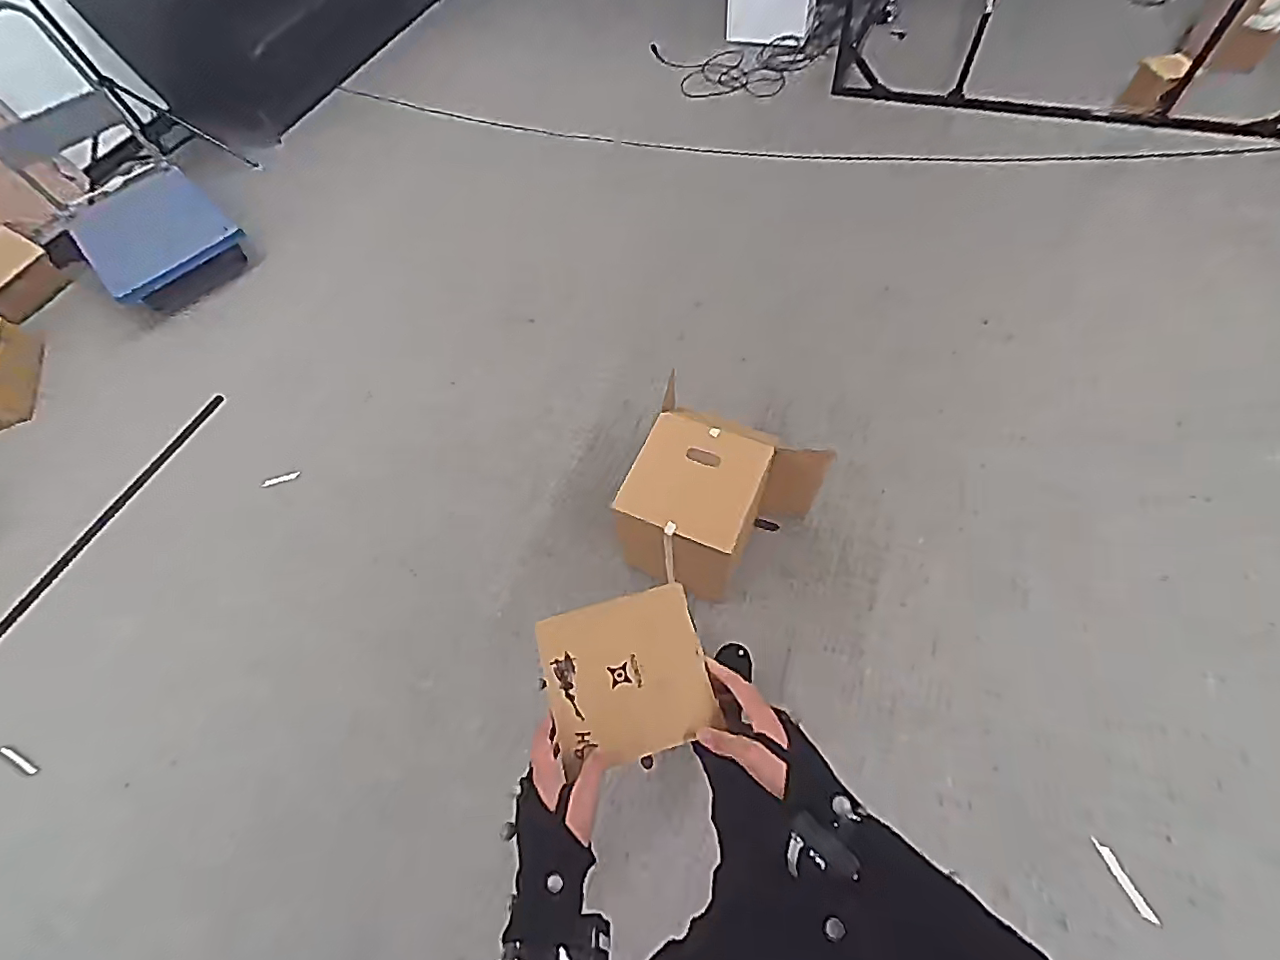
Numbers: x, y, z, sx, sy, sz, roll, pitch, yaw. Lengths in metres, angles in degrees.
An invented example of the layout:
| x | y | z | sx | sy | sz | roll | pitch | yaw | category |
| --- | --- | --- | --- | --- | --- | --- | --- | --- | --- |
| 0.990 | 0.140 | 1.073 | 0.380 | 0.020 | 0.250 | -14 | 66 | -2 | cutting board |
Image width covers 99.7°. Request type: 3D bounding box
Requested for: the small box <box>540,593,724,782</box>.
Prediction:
| x | y | z | sx | sy | sz | roll | pitch | yaw | category |
| --- | --- | --- | --- | --- | --- | --- | --- | --- | --- |
| -0.016 | 0.255 | 0.671 | 0.179 | 0.176 | 0.168 | -13 | 66 | -8 | small box |
